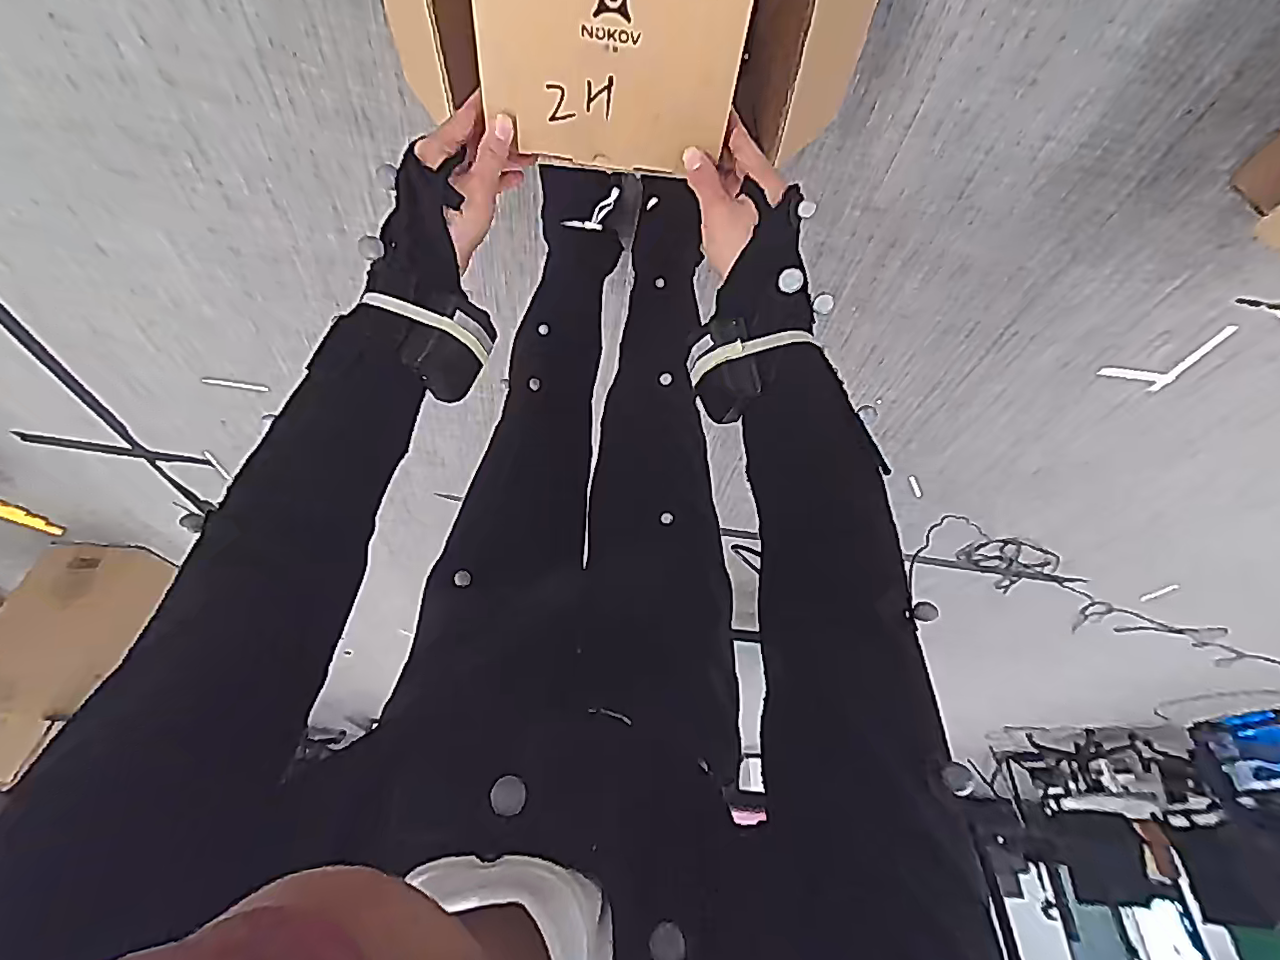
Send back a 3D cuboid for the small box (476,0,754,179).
[{"bbox_3d":[-0.012,-0.343,0.367,0.168,0.176,0.179,7,143,-3],"label":"small box"}]
